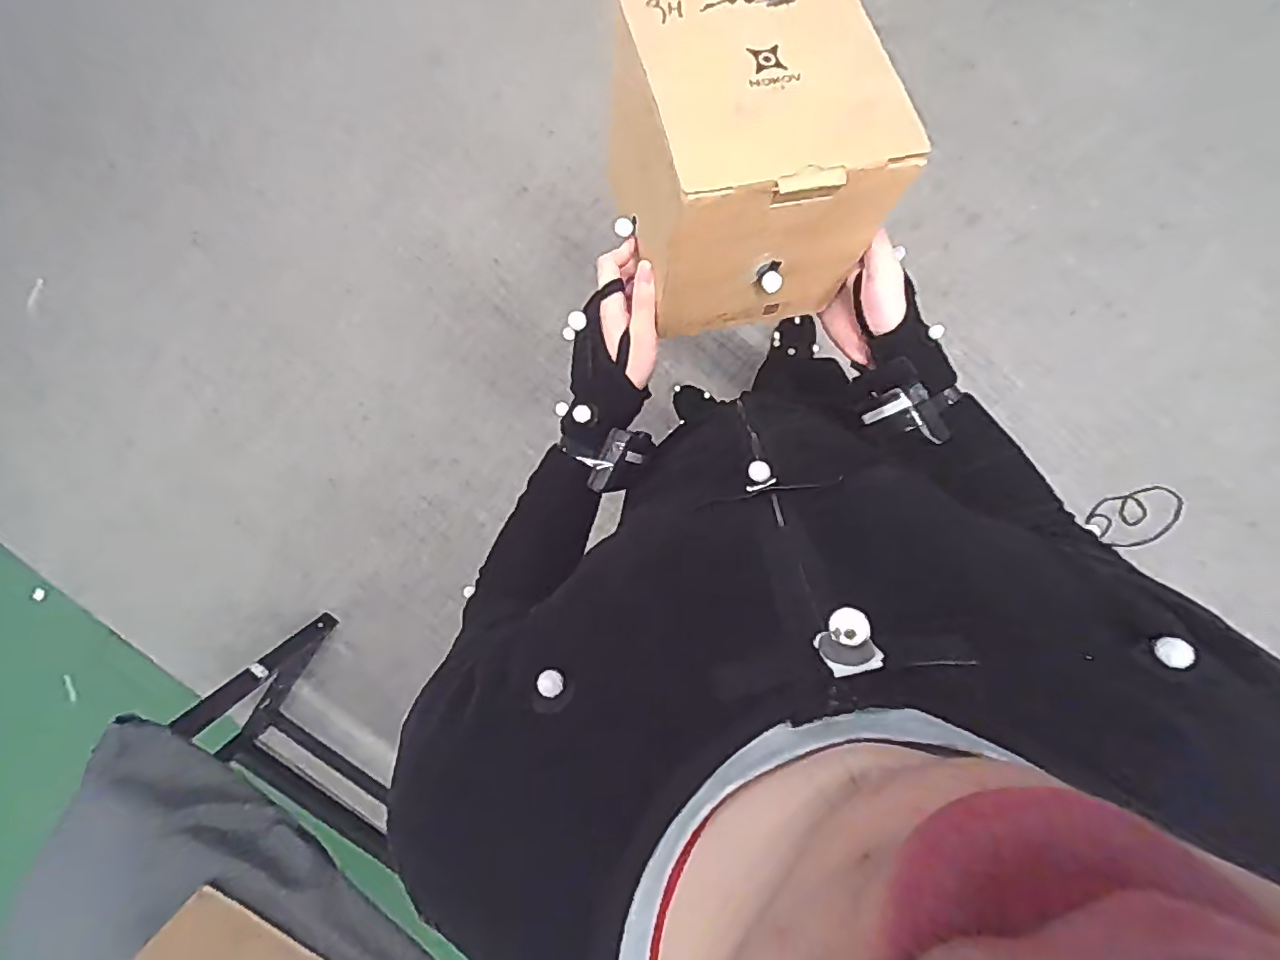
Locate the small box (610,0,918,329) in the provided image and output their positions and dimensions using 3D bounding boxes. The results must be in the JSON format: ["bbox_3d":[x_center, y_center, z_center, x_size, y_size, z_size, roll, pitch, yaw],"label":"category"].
[{"bbox_3d":[0.073,-0.237,0.425,0.168,0.176,0.179,-12,76,-8],"label":"small box"}]
